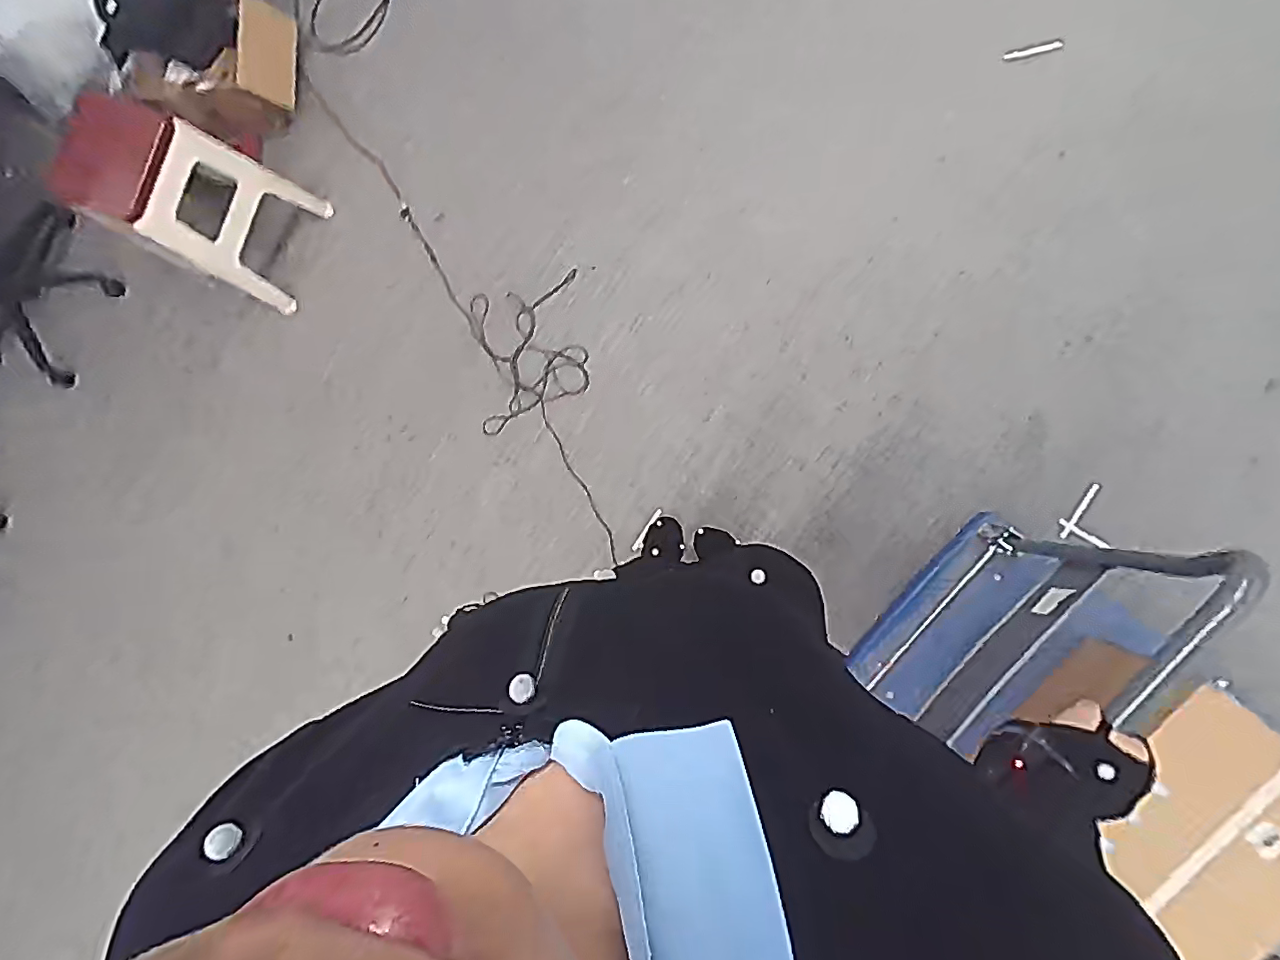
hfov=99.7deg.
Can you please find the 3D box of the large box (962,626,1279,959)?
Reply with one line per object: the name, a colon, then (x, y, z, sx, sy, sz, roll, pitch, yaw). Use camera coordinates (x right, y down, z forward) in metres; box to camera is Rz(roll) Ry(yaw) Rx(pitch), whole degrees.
large box: (0.914, 0.548, 1.010, 0.320, 0.320, 0.408, 41, 93, 10)
